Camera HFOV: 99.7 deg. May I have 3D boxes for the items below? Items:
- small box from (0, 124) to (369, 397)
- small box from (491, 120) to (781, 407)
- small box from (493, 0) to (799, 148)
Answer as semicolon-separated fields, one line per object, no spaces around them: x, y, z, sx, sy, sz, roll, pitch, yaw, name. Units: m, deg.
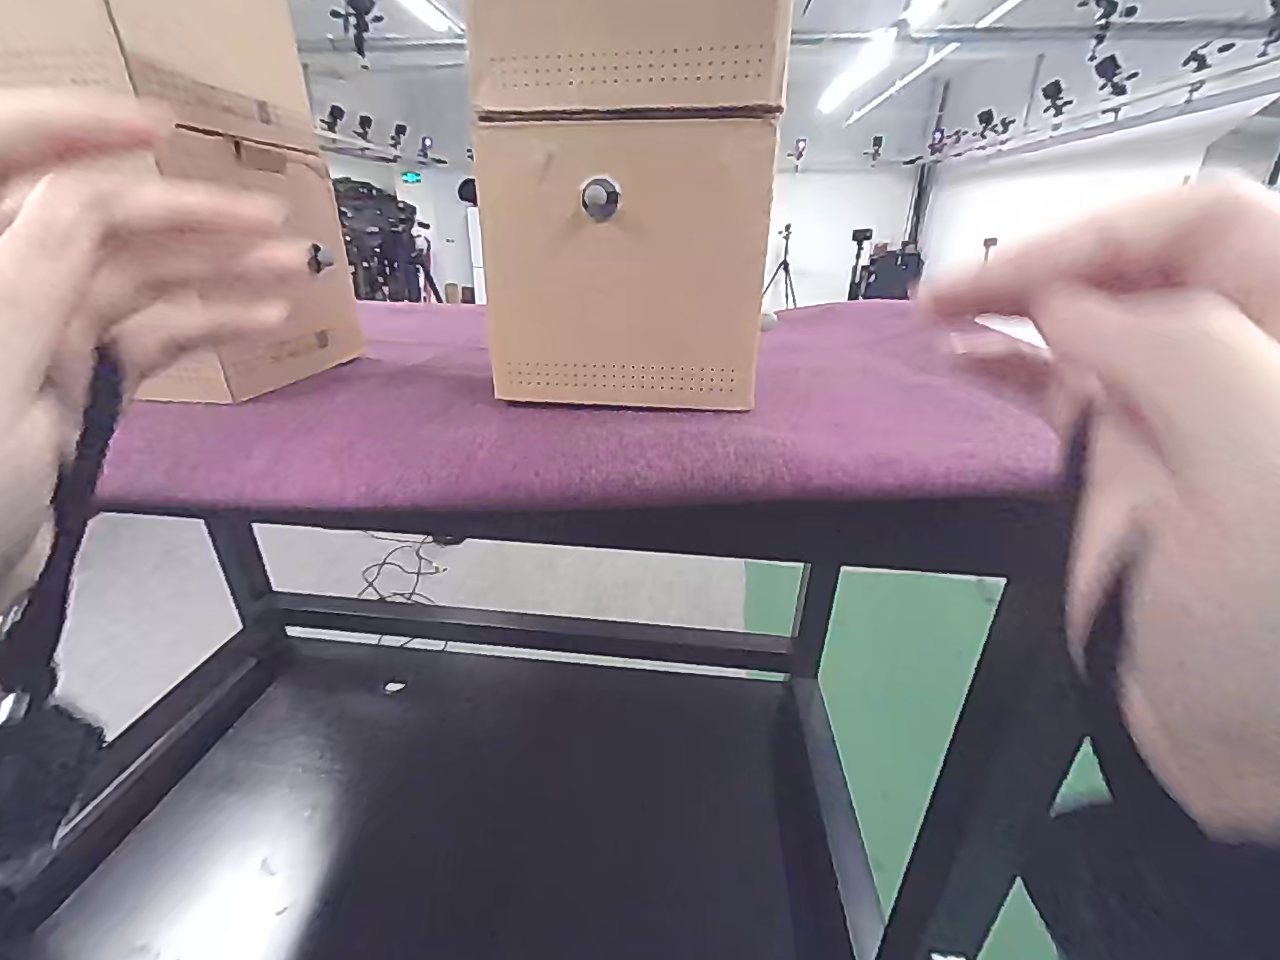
-0.345;-0.165;0.426;0.179;0.176;0.168;2;24;4;small box
0.004;-0.156;0.415;0.179;0.176;0.168;5;22;6;small box
0.010;-0.308;0.355;0.179;0.176;0.168;4;22;7;small box
